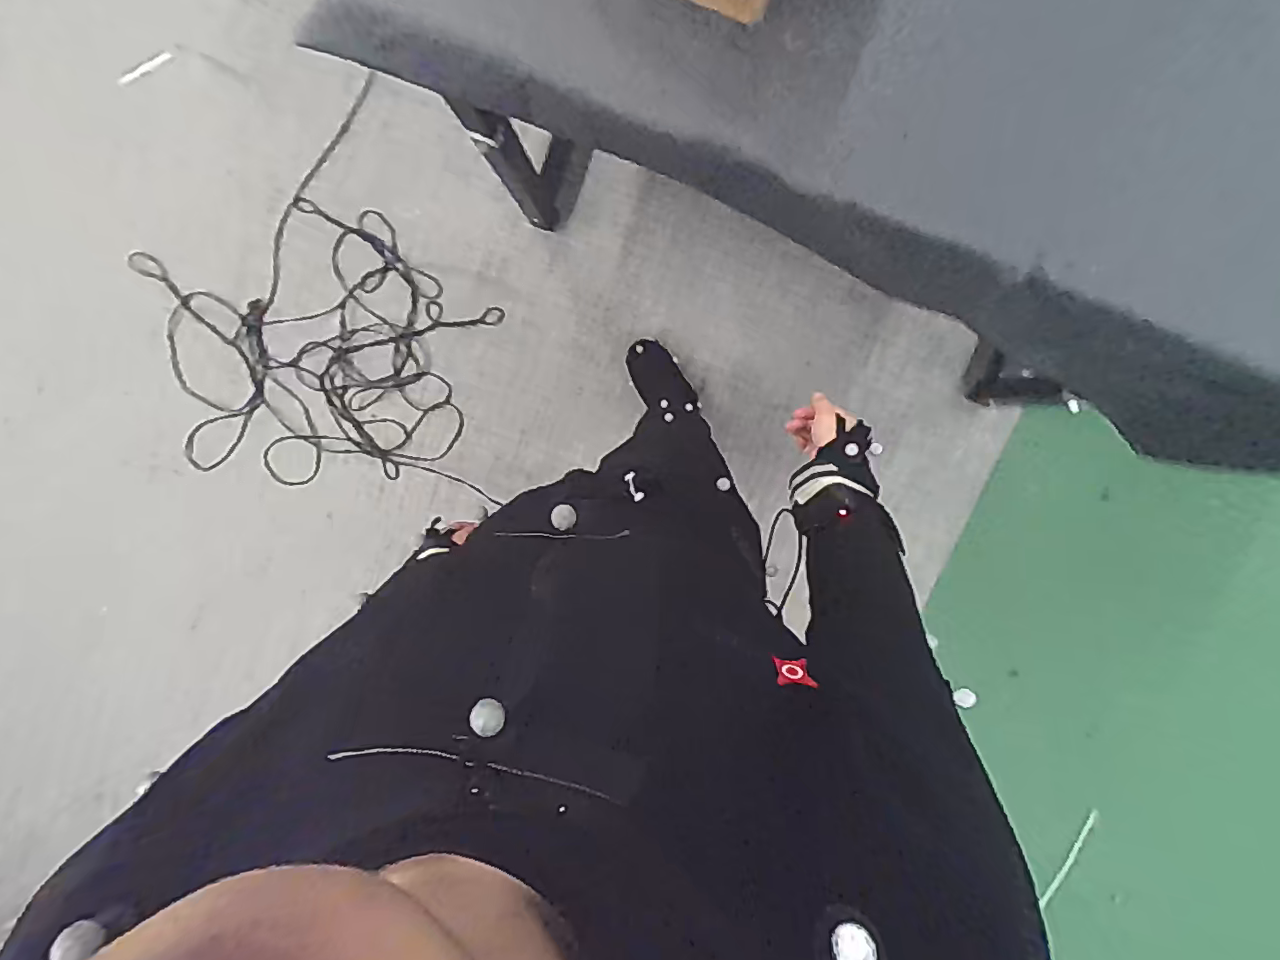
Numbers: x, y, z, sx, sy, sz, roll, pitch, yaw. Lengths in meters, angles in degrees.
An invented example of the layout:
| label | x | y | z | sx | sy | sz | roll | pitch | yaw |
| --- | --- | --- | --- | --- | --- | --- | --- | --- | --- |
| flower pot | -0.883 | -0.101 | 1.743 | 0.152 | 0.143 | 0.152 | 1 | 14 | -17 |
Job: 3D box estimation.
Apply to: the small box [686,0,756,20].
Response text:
| label | x | y | z | sx | sy | sz | roll | pitch | yaw |
| --- | --- | --- | --- | --- | --- | --- | --- | --- | --- |
| small box | 0.062 | -0.558 | 0.453 | 0.168 | 0.176 | 0.179 | 20 | 98 | -2 |
